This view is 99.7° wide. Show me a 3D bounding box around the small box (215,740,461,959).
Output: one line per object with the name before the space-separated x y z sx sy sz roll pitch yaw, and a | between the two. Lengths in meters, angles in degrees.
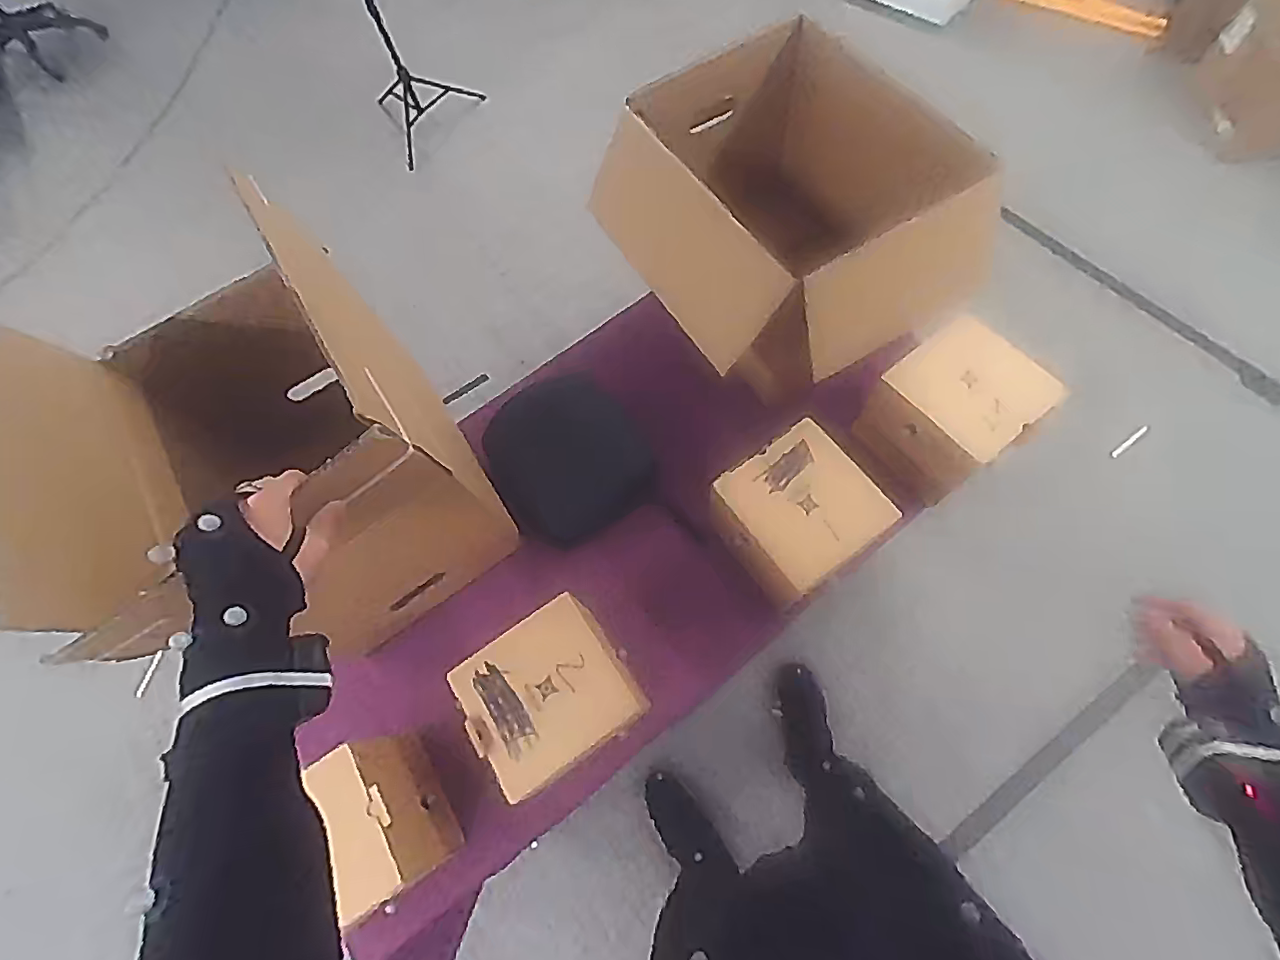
small box | -0.355 0.445 0.662 0.179 0.176 0.168 -33 68 -9

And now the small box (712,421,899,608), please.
small box | 0.213 0.056 0.755 0.168 0.176 0.179 -35 69 -7
